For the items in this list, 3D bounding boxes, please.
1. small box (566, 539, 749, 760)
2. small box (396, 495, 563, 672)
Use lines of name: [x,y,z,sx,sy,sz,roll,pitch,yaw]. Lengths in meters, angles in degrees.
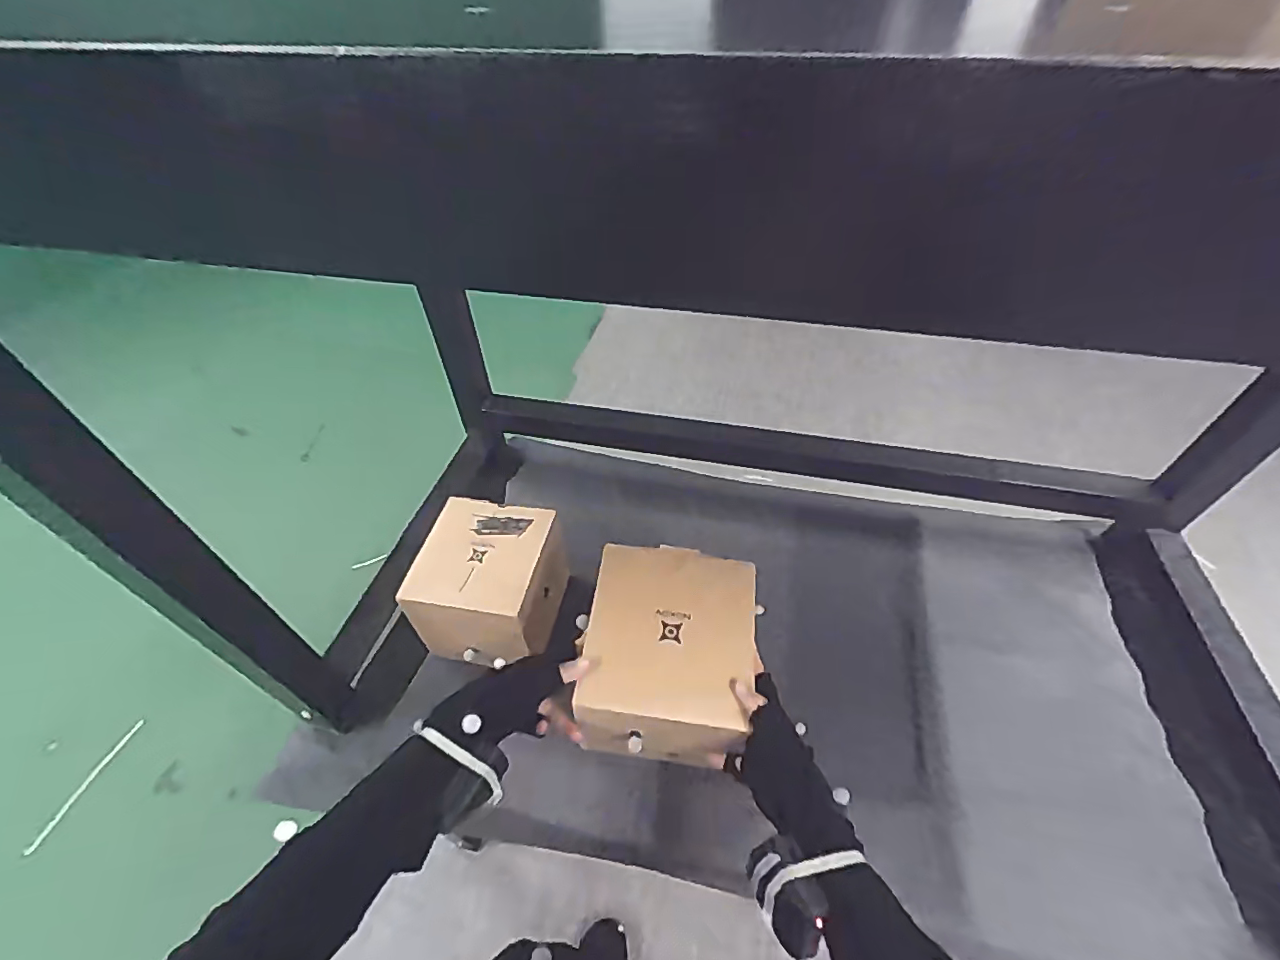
small box: [0.023,0.191,0.596,0.168,0.176,0.179,7,50,3]
small box: [-0.215,0.150,0.786,0.168,0.176,0.179,7,47,8]
